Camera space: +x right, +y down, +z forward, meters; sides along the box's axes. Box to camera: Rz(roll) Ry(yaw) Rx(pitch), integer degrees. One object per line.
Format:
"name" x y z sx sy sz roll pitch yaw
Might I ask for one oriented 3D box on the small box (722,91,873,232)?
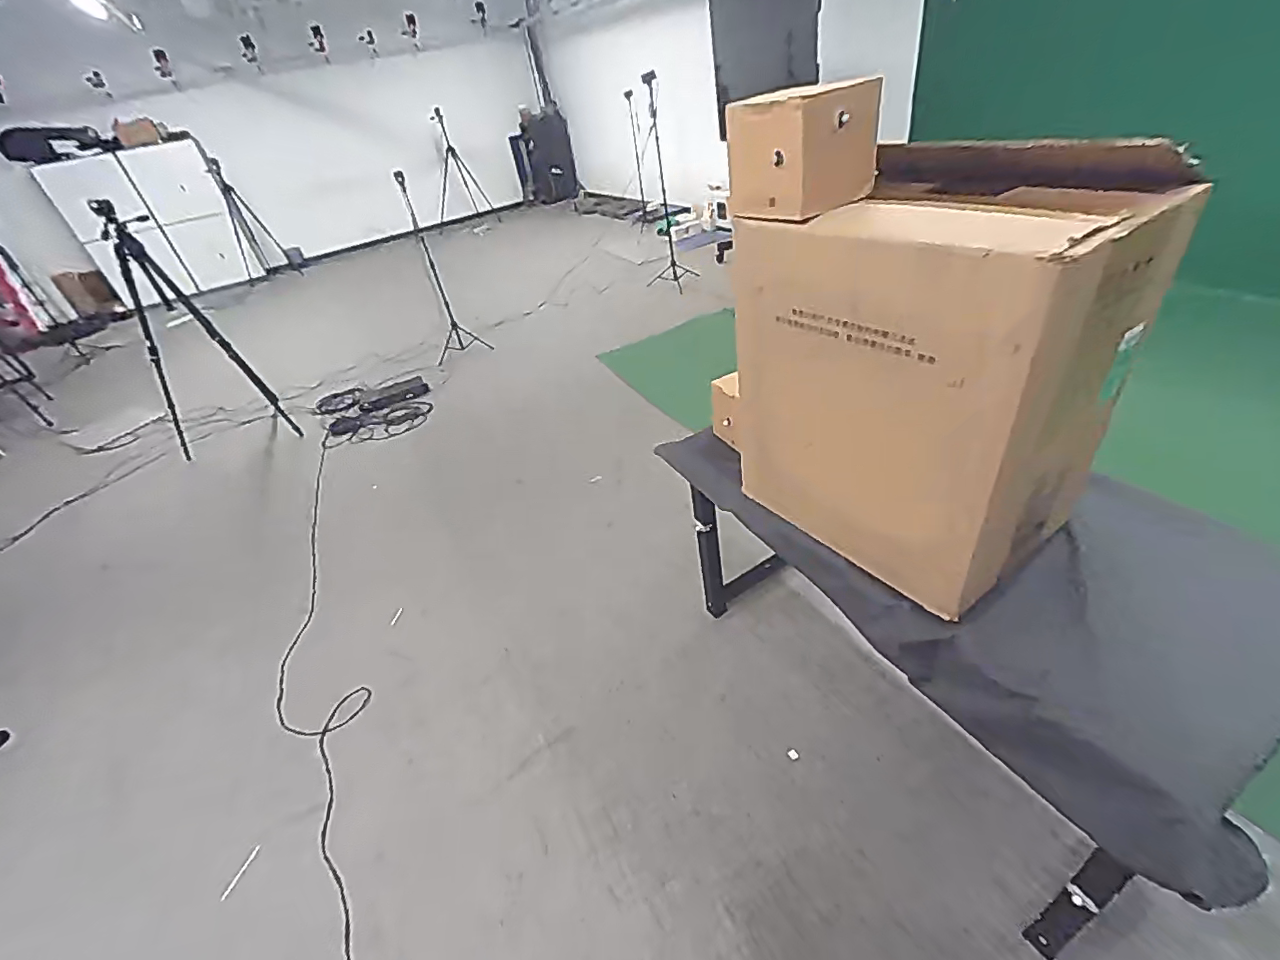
"small box" 0.260 -0.525 0.902 0.179 0.176 0.168 -27 38 -22
